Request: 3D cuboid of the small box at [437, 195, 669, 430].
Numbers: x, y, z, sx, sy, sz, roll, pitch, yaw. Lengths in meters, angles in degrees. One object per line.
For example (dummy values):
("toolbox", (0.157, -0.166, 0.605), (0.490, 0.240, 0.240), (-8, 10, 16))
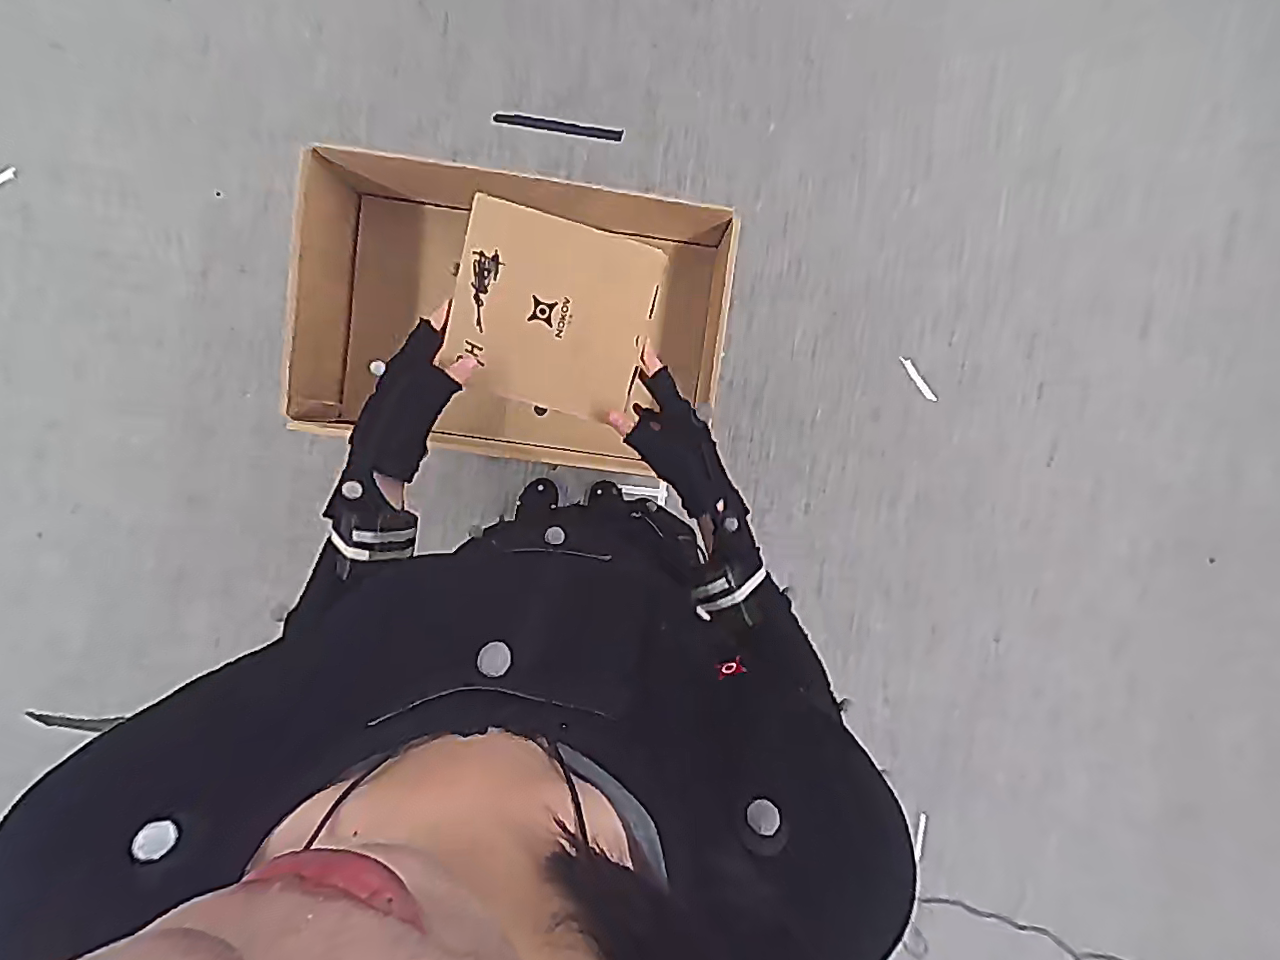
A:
("small box", (-0.085, -0.158, 0.559), (0.179, 0.176, 0.168), (14, 97, -8))
